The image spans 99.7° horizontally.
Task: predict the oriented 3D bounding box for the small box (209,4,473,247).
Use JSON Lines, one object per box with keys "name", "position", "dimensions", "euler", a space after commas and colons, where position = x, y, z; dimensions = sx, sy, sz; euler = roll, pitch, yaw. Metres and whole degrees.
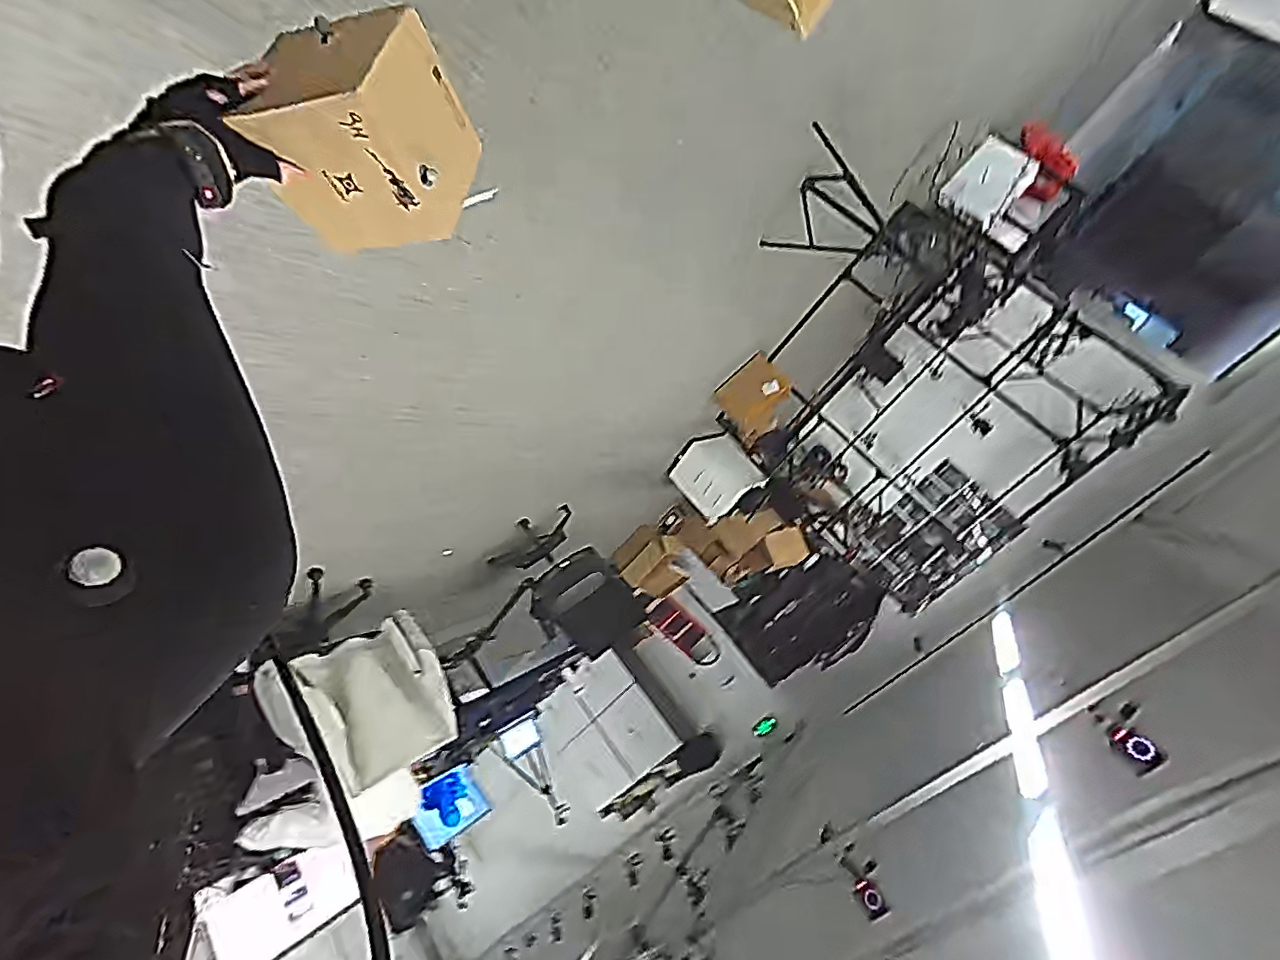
{"name": "small box", "position": [-0.320, -0.398, 0.620], "dimensions": [0.179, 0.176, 0.168], "euler": [1, 153, 13]}
